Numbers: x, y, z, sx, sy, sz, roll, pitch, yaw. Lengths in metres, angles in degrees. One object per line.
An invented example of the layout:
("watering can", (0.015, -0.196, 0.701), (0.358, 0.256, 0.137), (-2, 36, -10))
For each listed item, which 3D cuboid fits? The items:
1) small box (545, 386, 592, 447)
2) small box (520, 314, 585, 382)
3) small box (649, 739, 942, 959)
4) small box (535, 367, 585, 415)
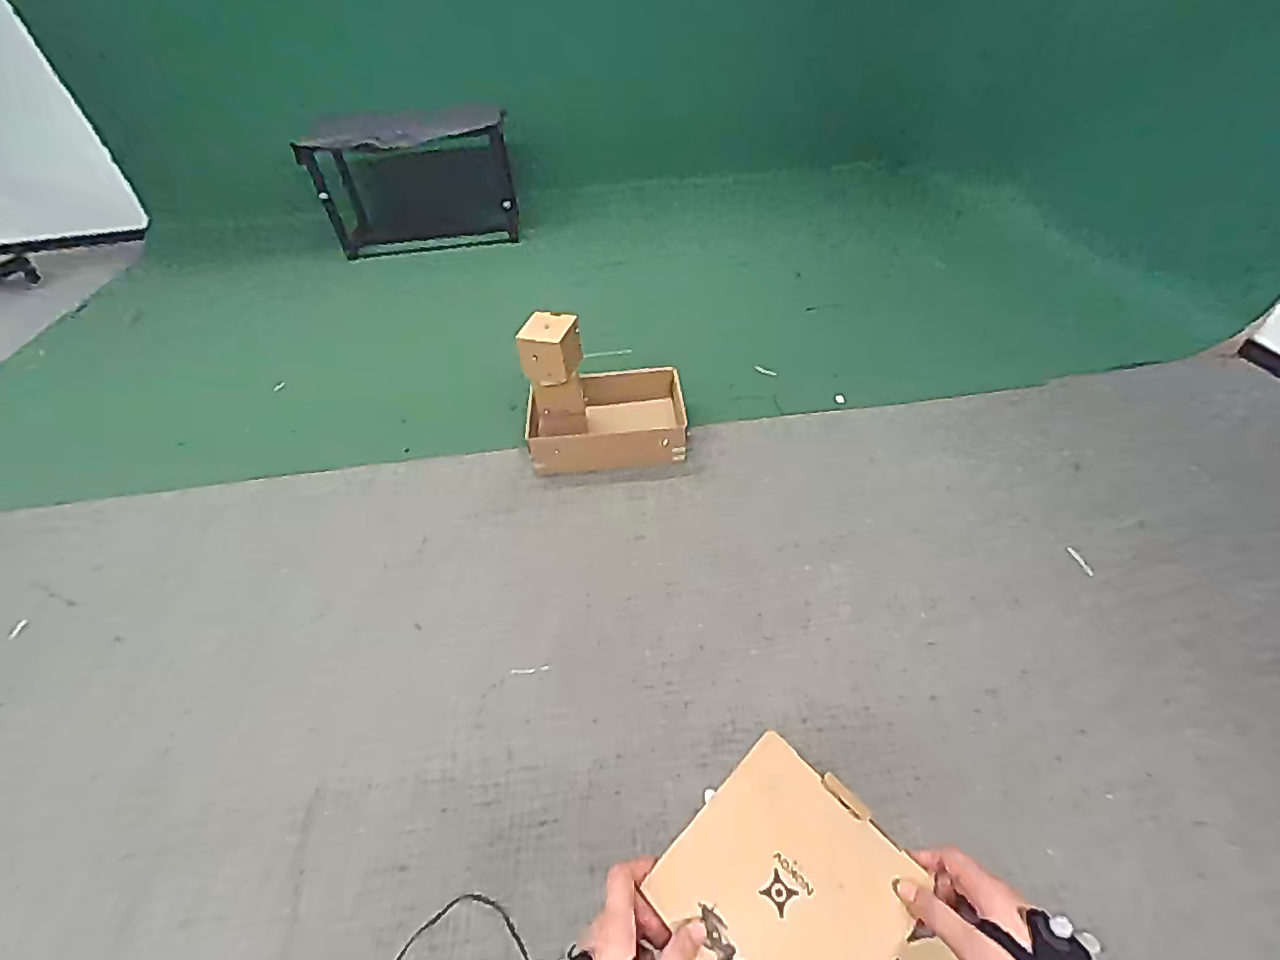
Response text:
("small box", (-0.288, -0.255, 2.186), (0.168, 0.176, 0.179), (-7, 46, -3))
("small box", (-0.305, -0.471, 1.941), (0.168, 0.176, 0.179), (10, 46, 13))
("small box", (0.124, 0.379, 0.487), (0.179, 0.176, 0.168), (-37, 56, -25))
("small box", (-0.301, -0.362, 2.062), (0.168, 0.176, 0.179), (-5, 45, -2))
